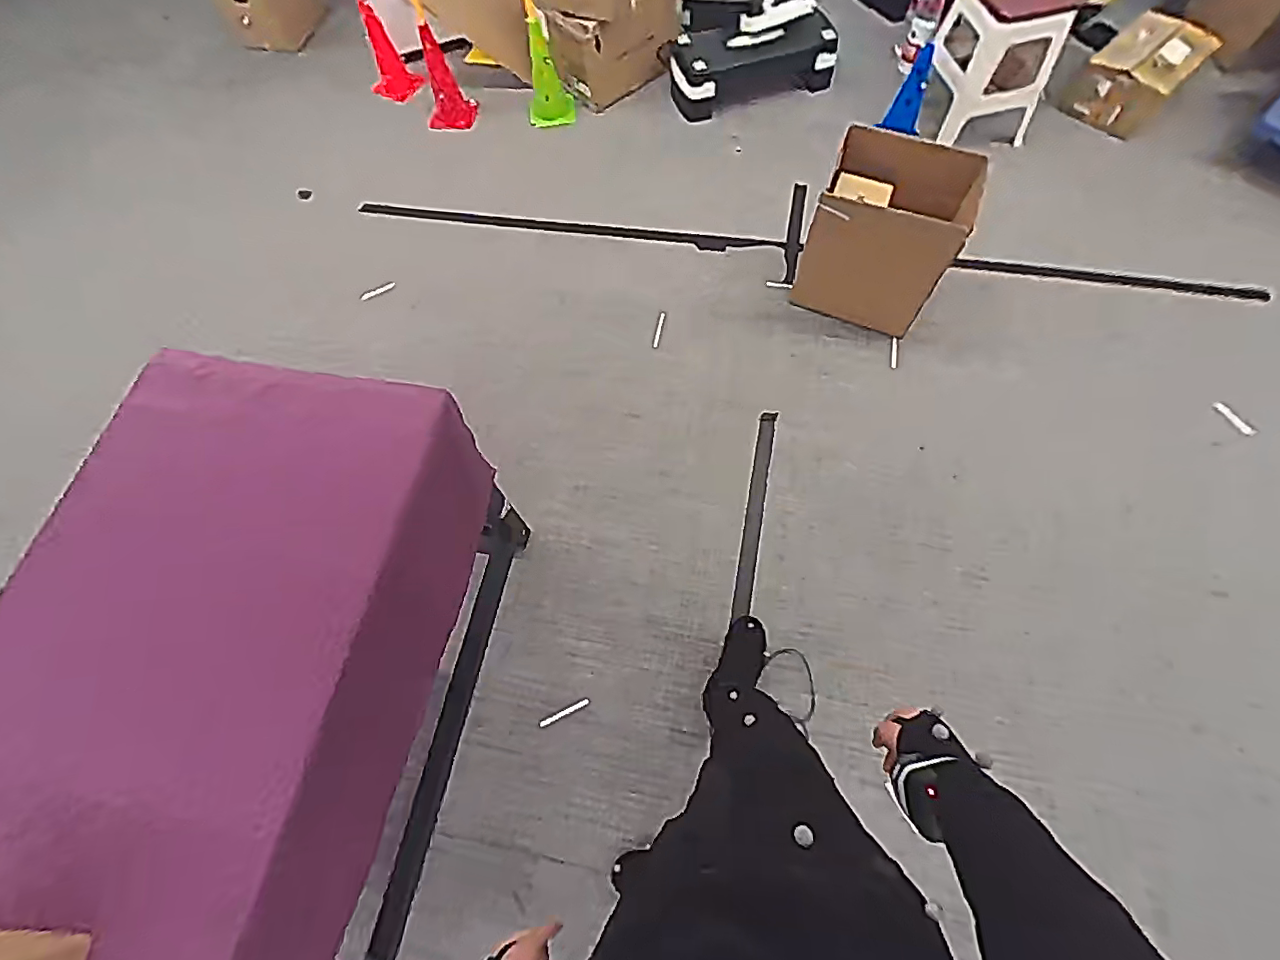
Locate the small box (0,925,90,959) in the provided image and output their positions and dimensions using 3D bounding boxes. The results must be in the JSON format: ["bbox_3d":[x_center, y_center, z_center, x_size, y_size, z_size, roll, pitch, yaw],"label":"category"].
[{"bbox_3d":[-0.771,0.604,0.572,0.179,0.176,0.168,0,67,4],"label":"small box"}]
